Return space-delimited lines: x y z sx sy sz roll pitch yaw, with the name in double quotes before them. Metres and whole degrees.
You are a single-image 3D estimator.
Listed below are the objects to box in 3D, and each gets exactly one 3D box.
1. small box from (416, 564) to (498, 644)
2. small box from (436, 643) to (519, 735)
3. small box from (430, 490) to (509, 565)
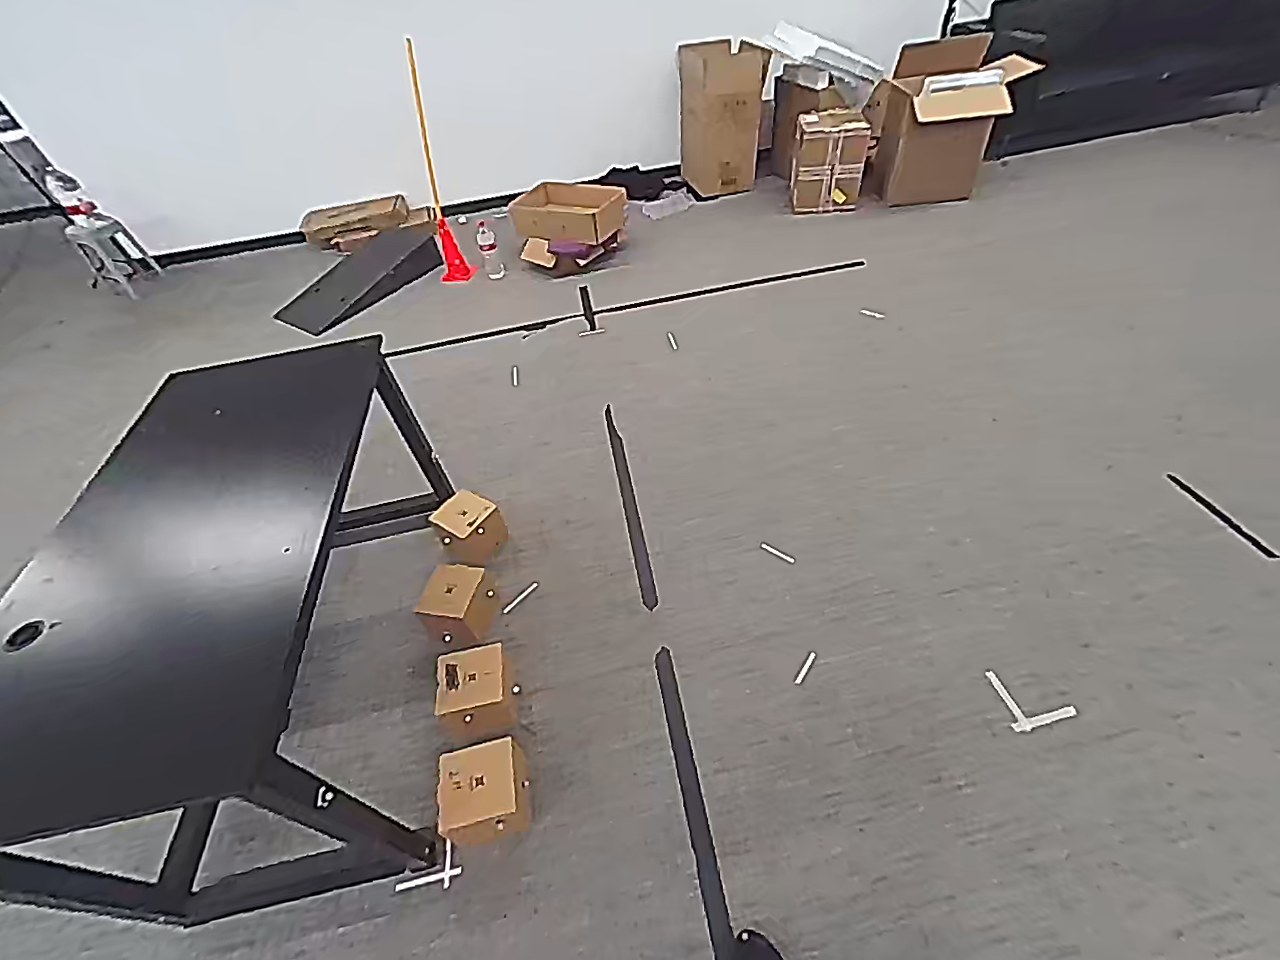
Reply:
"small box" -0.559 0.387 1.687 0.168 0.176 0.179 3 48 12
"small box" -0.441 0.579 1.487 0.179 0.176 0.168 -11 46 -5
"small box" -0.592 0.168 1.894 0.179 0.176 0.168 22 54 26
